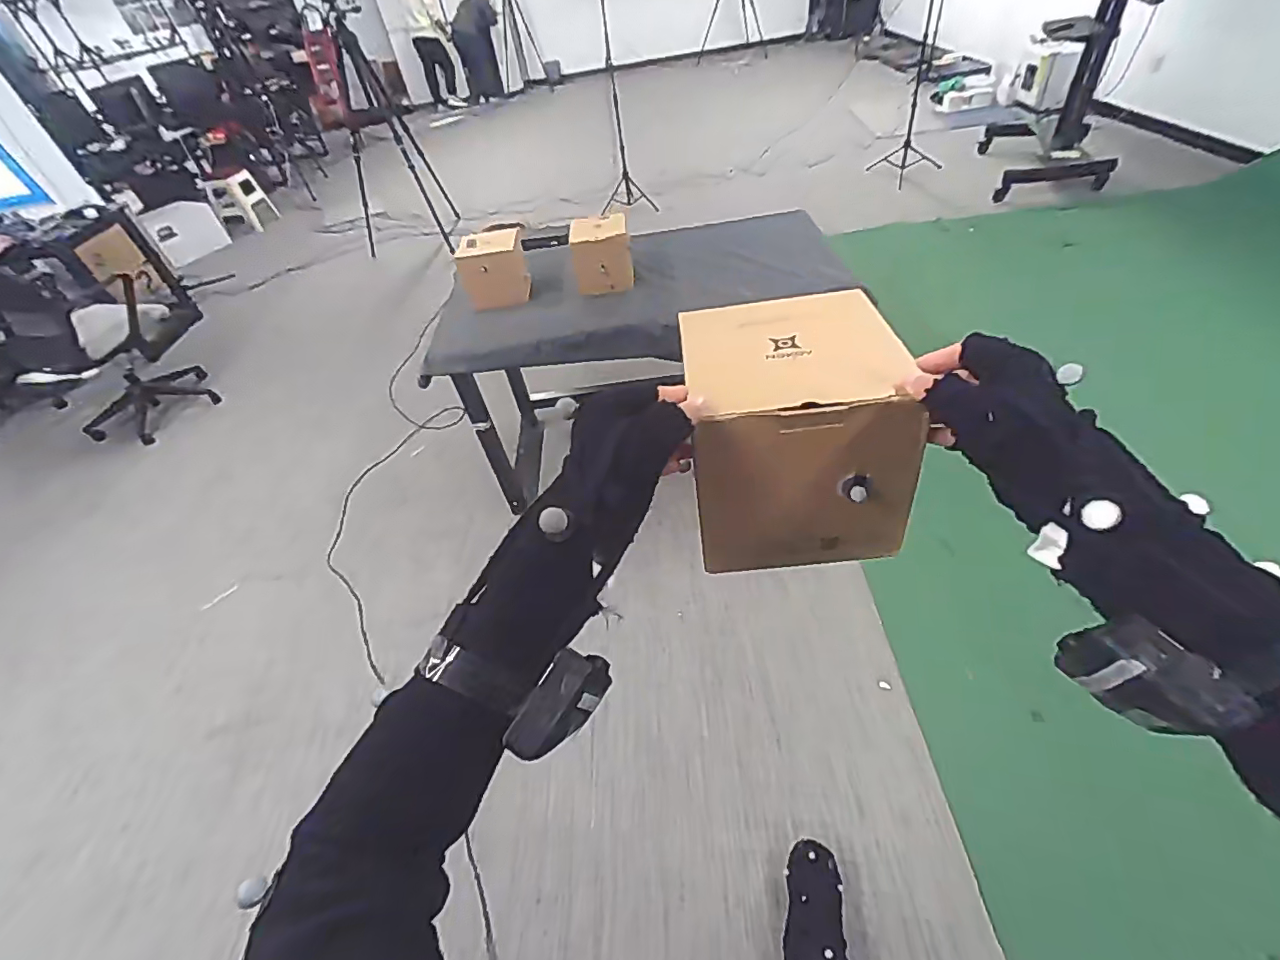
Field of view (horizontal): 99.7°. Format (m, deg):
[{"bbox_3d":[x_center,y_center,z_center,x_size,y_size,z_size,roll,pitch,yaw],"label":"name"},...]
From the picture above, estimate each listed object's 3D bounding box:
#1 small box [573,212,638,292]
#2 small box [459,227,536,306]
[{"bbox_3d":[-0.099,-0.677,1.623,0.168,0.176,0.179,-6,45,4],"label":"small box"},{"bbox_3d":[-0.428,-0.646,1.648,0.179,0.176,0.168,-7,45,1],"label":"small box"}]
